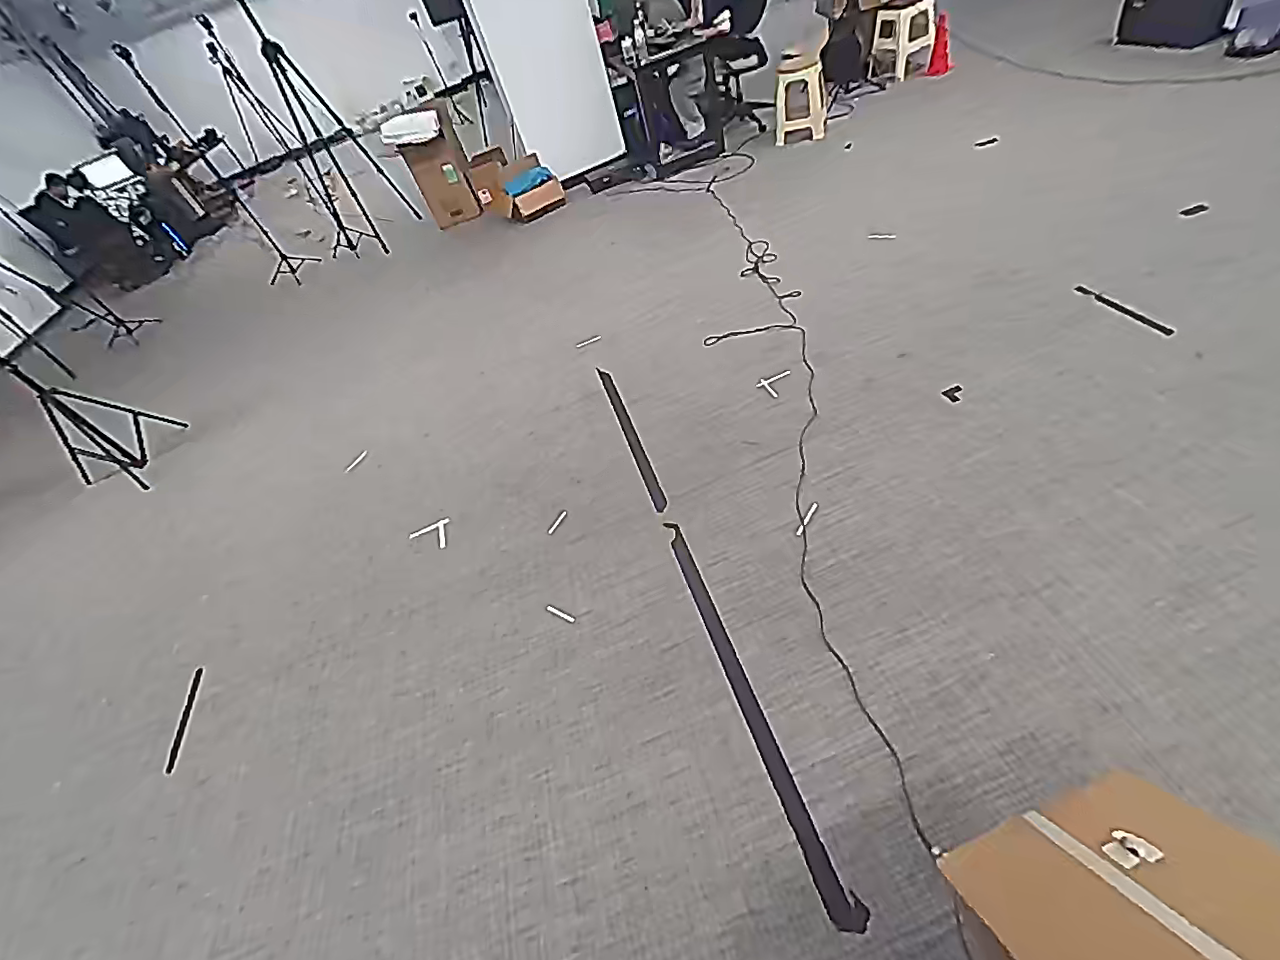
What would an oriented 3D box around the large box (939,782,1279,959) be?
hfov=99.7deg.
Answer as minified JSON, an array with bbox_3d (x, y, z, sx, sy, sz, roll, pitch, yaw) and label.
[{"bbox_3d":[0.639,0.625,0.592,0.320,0.408,0.320,-24,83,-2],"label":"large box"}]
